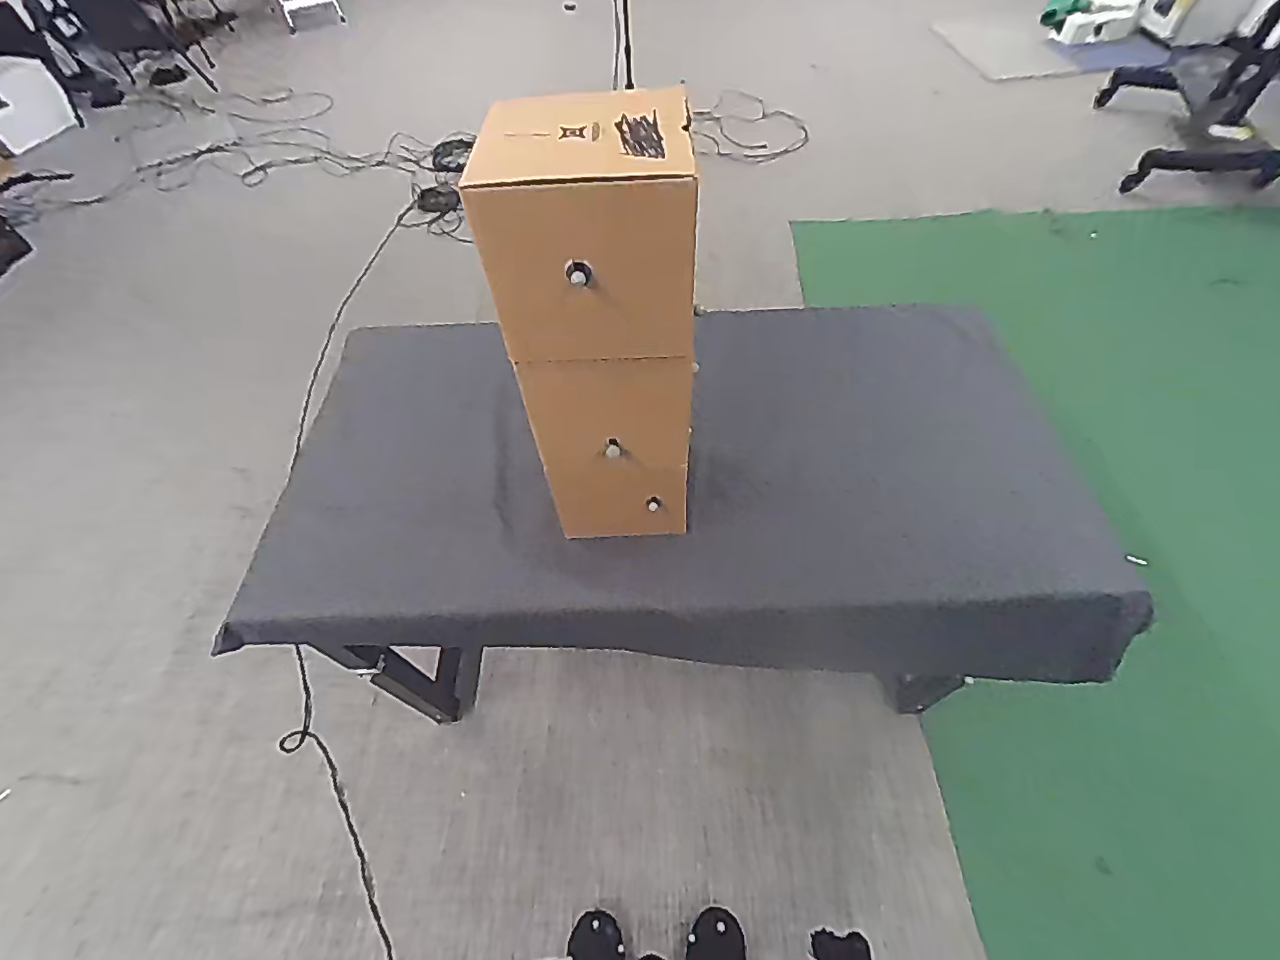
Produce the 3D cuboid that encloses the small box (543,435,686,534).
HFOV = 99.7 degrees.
[{"bbox_3d":[-0.029,-0.036,0.765,0.179,0.176,0.168,-4,53,2],"label":"small box"}]

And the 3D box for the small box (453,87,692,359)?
[{"bbox_3d":[-0.046,-0.230,0.500,0.179,0.176,0.168,-2,54,3],"label":"small box"}]

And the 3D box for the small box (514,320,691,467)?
[{"bbox_3d":[-0.037,-0.131,0.635,0.179,0.176,0.168,-5,55,1],"label":"small box"}]
